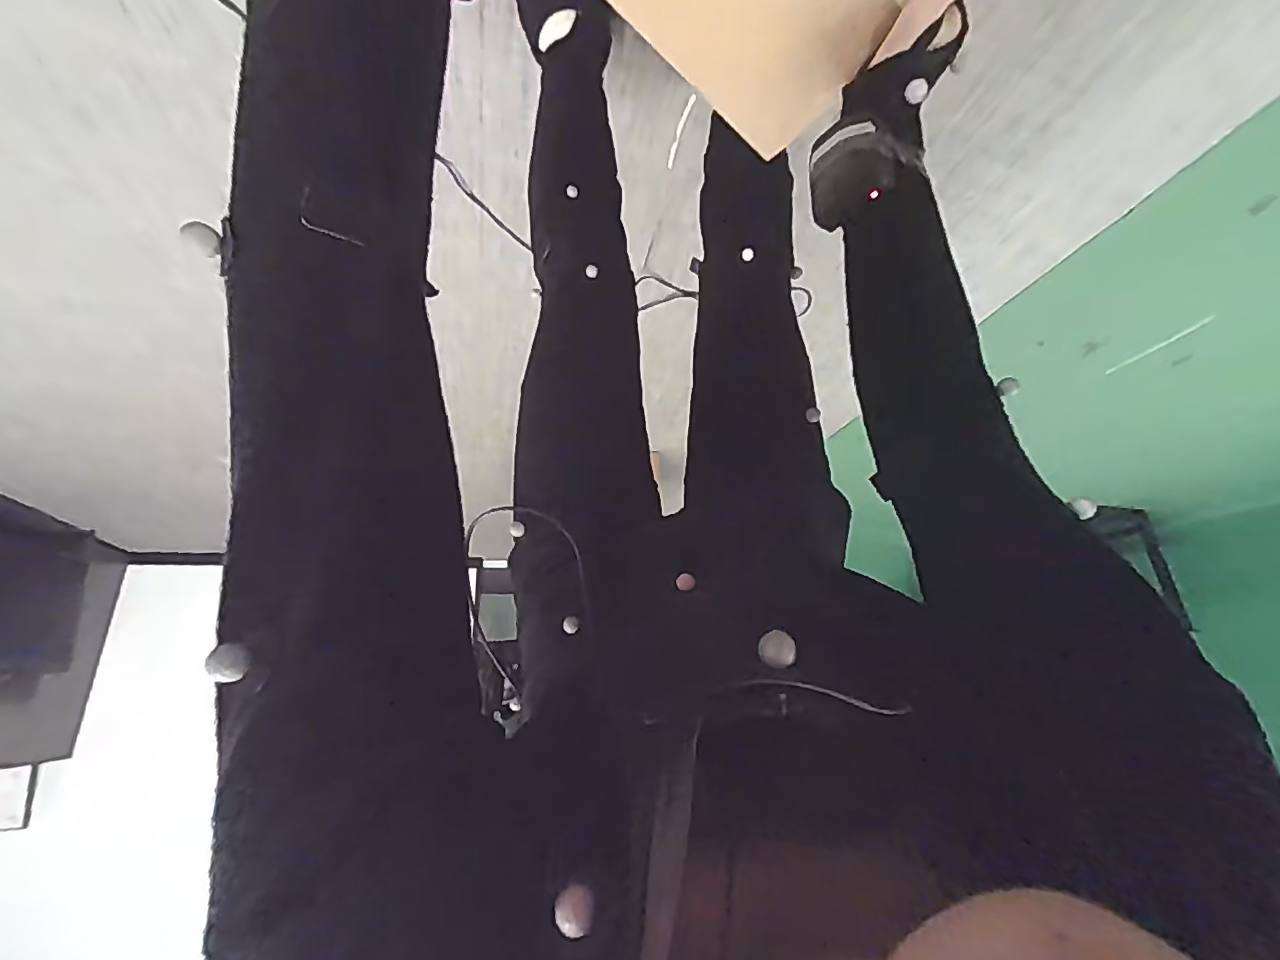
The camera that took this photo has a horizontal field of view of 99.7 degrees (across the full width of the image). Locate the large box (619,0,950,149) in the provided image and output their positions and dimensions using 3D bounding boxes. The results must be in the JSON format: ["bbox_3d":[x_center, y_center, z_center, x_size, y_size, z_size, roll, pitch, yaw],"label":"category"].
[{"bbox_3d":[0.073,-0.546,0.353,0.408,0.320,0.320,18,152,-38],"label":"large box"}]
